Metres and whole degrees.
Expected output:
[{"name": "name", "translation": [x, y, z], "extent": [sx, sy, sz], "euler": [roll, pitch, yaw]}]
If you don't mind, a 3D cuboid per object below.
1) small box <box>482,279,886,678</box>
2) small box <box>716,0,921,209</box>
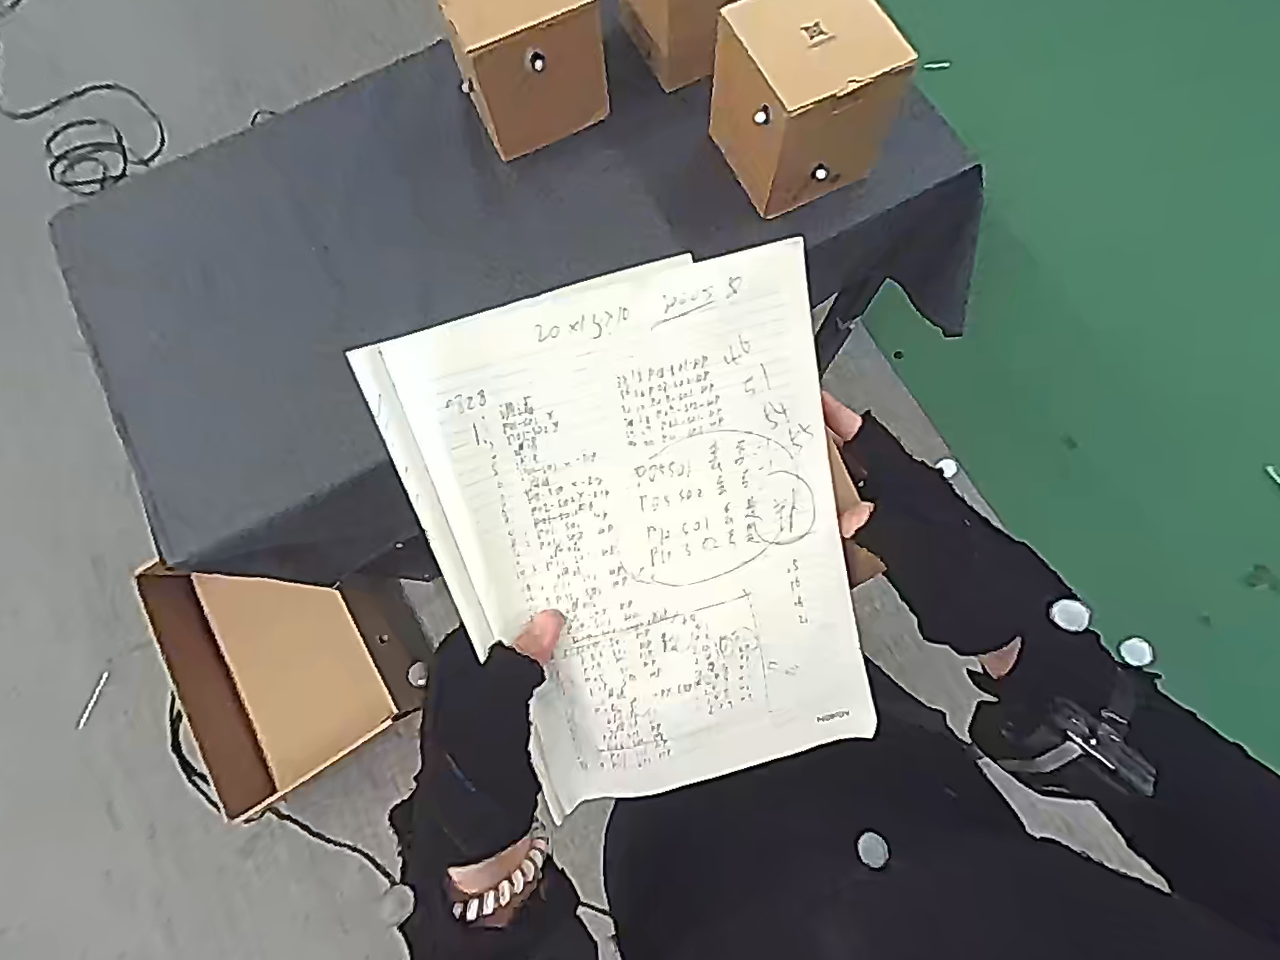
[{"name": "small box", "translation": [0.021, -0.003, 0.371], "extent": [0.179, 0.176, 0.168], "euler": [-26, 95, -3]}, {"name": "small box", "translation": [0.210, -0.495, 0.695], "extent": [0.168, 0.176, 0.179], "euler": [-24, 76, -4]}]
